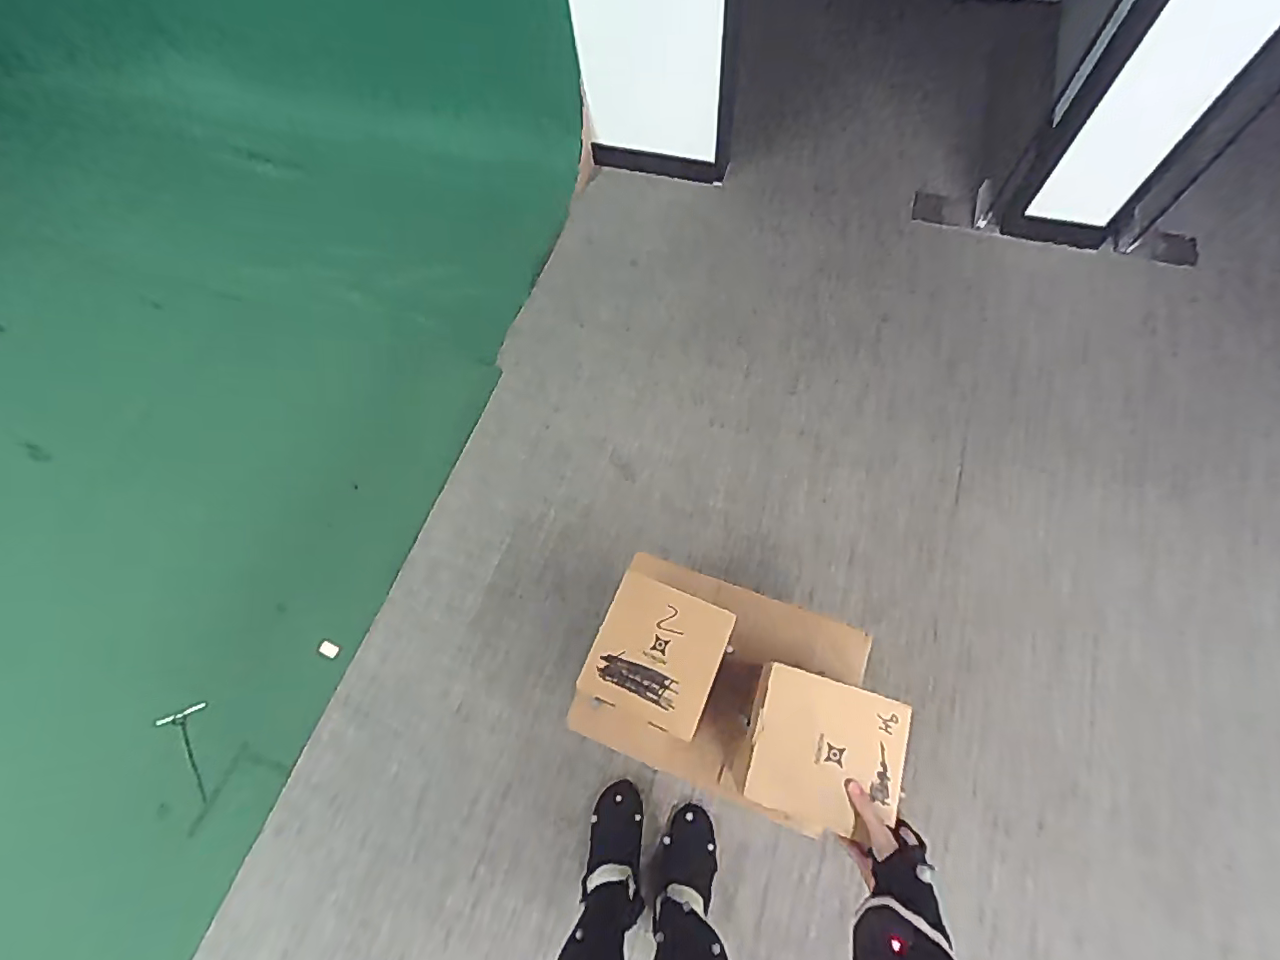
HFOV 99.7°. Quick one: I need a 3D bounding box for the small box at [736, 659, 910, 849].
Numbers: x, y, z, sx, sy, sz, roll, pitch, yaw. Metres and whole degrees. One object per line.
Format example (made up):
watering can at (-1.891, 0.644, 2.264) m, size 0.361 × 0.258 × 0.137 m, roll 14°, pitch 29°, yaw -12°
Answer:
small box at (0.233, 0.353, 0.729) m, size 0.179 × 0.176 × 0.168 m, roll 15°, pitch 73°, yaw 12°
